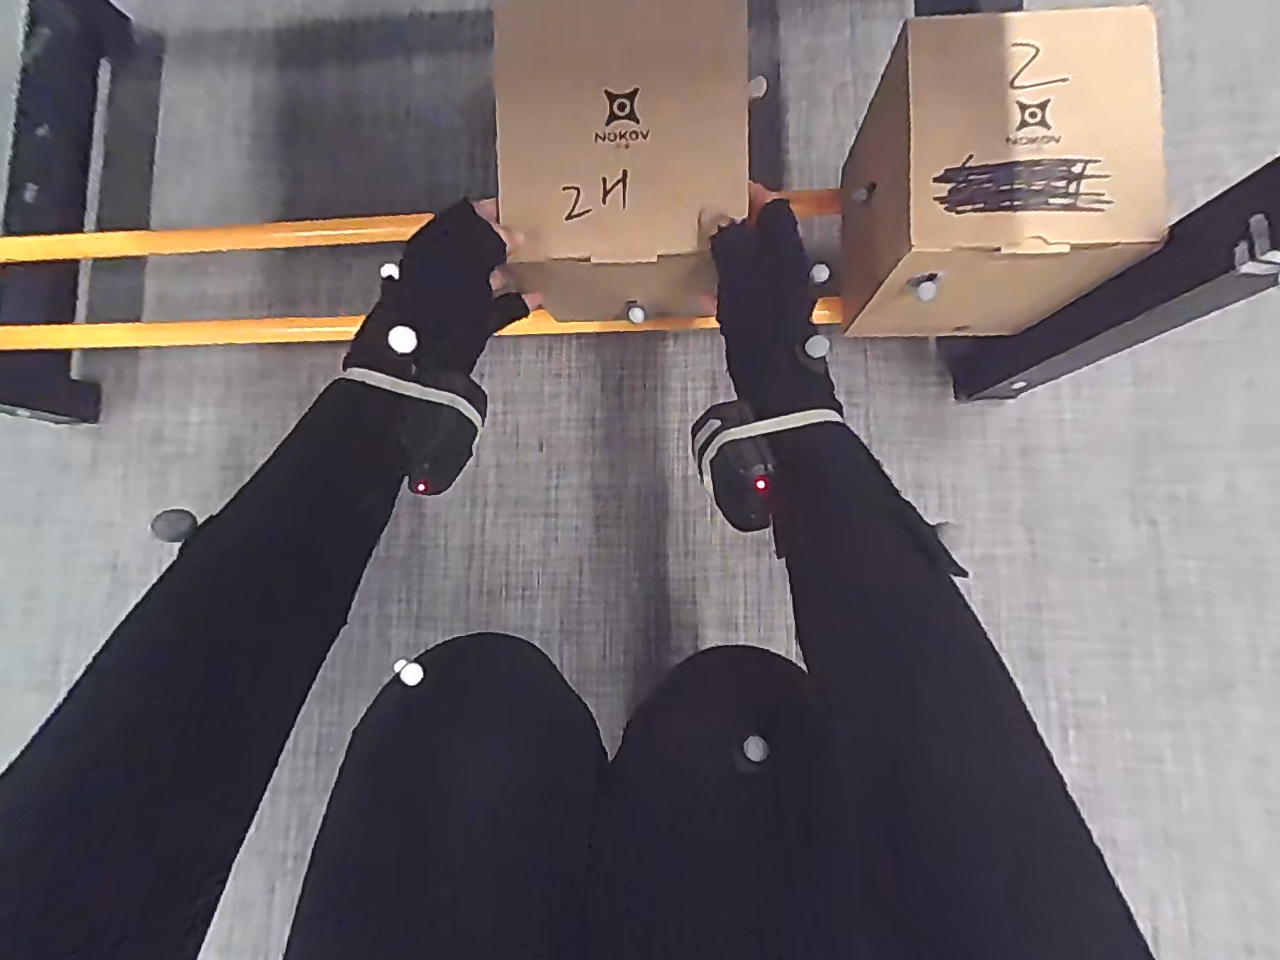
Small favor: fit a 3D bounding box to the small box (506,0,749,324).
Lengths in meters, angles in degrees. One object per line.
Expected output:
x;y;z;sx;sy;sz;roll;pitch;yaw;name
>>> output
-0.004;-0.238;0.443;0.168;0.176;0.179;0;91;5;small box
